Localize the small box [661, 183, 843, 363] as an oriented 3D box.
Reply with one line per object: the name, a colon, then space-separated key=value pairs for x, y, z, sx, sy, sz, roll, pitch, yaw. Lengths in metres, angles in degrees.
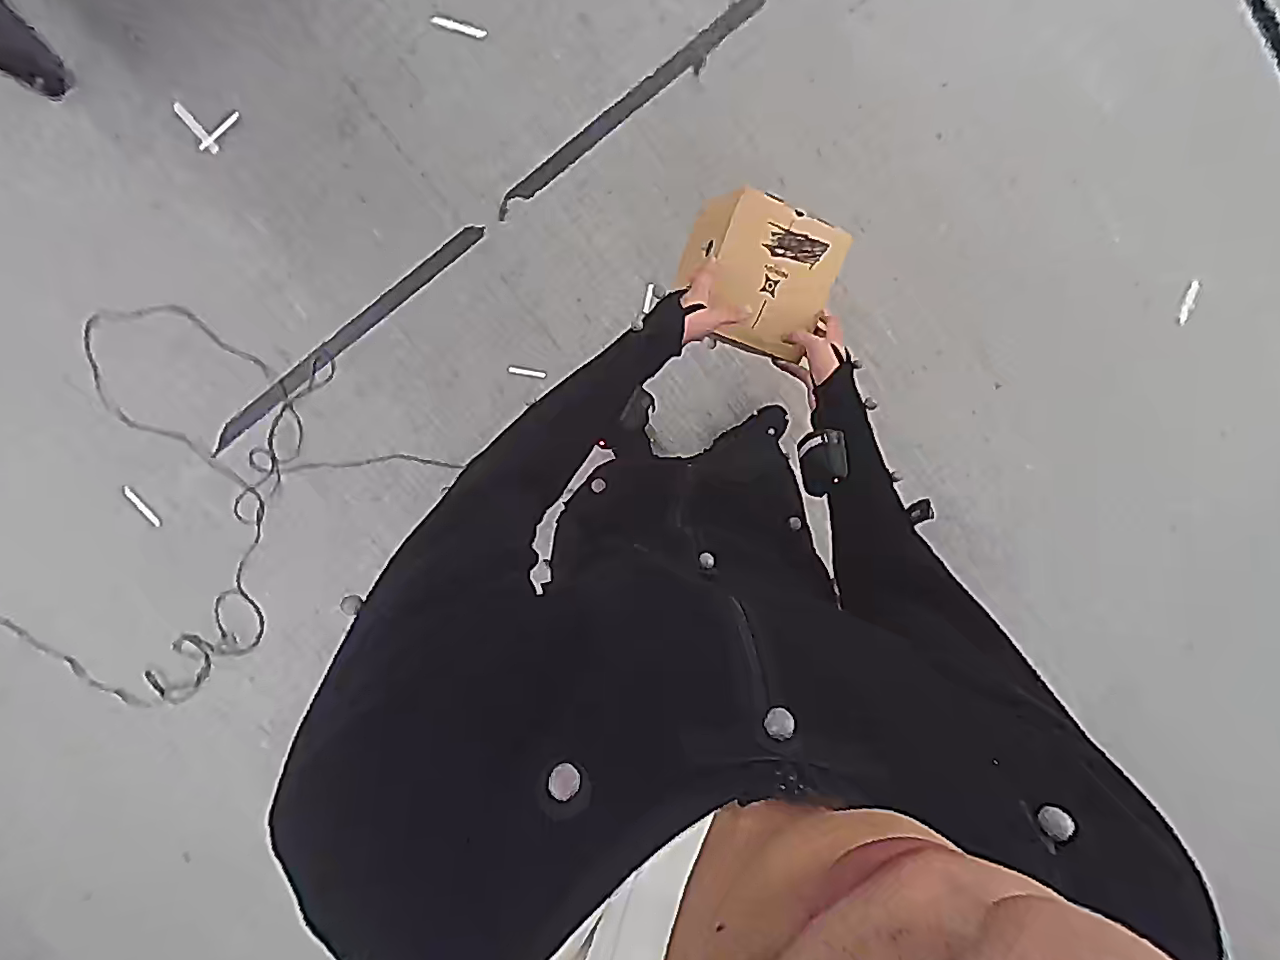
small box: x=0.142 y=-0.282 z=0.761 sx=0.168 sy=0.176 sz=0.179 roll=15 pitch=105 yaw=-17
